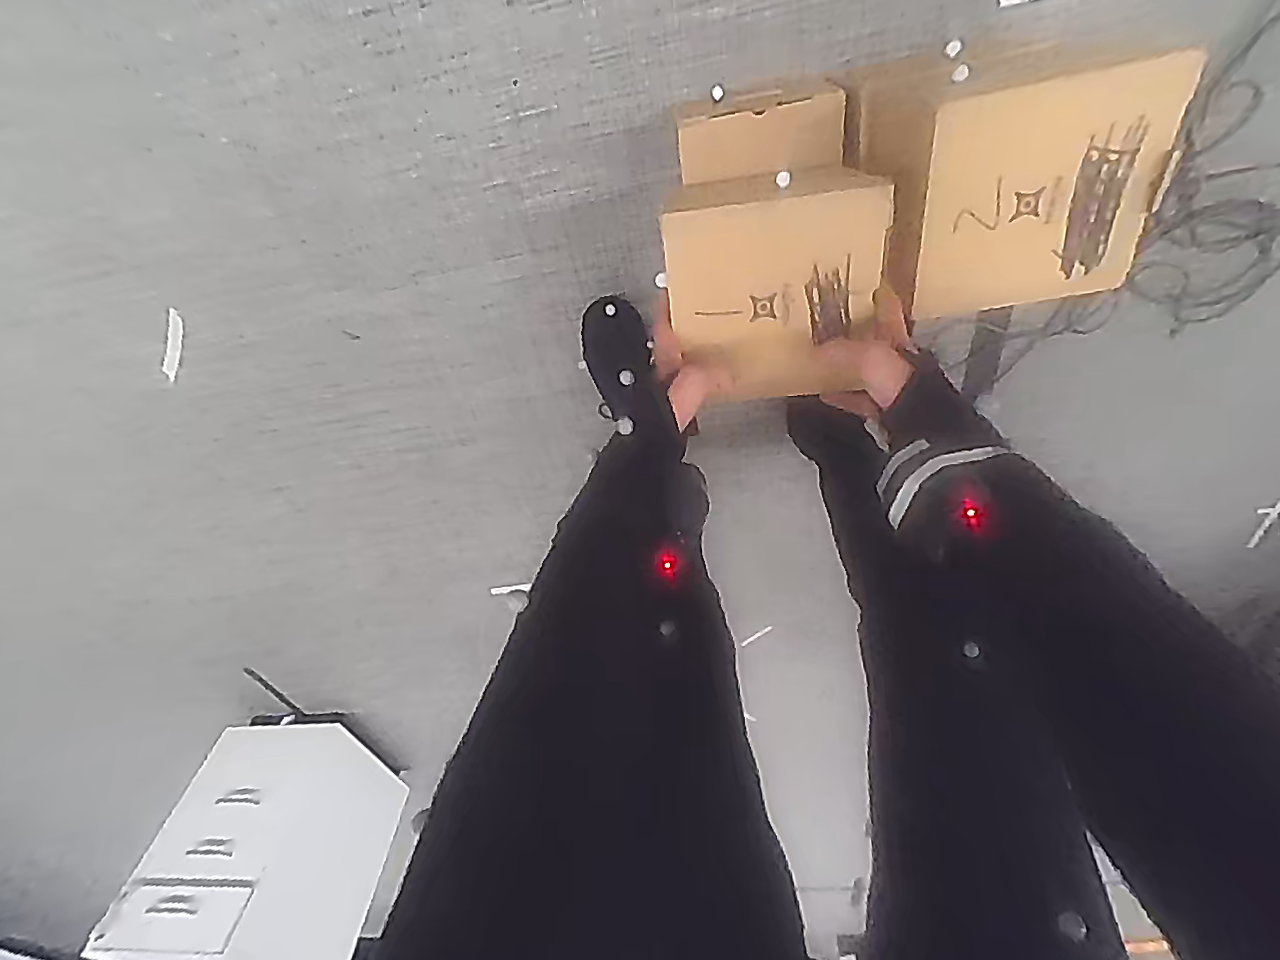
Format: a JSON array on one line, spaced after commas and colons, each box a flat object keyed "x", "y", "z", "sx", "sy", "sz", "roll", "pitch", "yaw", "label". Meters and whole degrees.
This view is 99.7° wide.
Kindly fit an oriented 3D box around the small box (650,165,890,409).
[{"x": 0.108, "y": -0.182, "z": 0.502, "sx": 0.179, "sy": 0.176, "sz": 0.168, "roll": -4, "pitch": 124, "yaw": 9, "label": "small box"}]
